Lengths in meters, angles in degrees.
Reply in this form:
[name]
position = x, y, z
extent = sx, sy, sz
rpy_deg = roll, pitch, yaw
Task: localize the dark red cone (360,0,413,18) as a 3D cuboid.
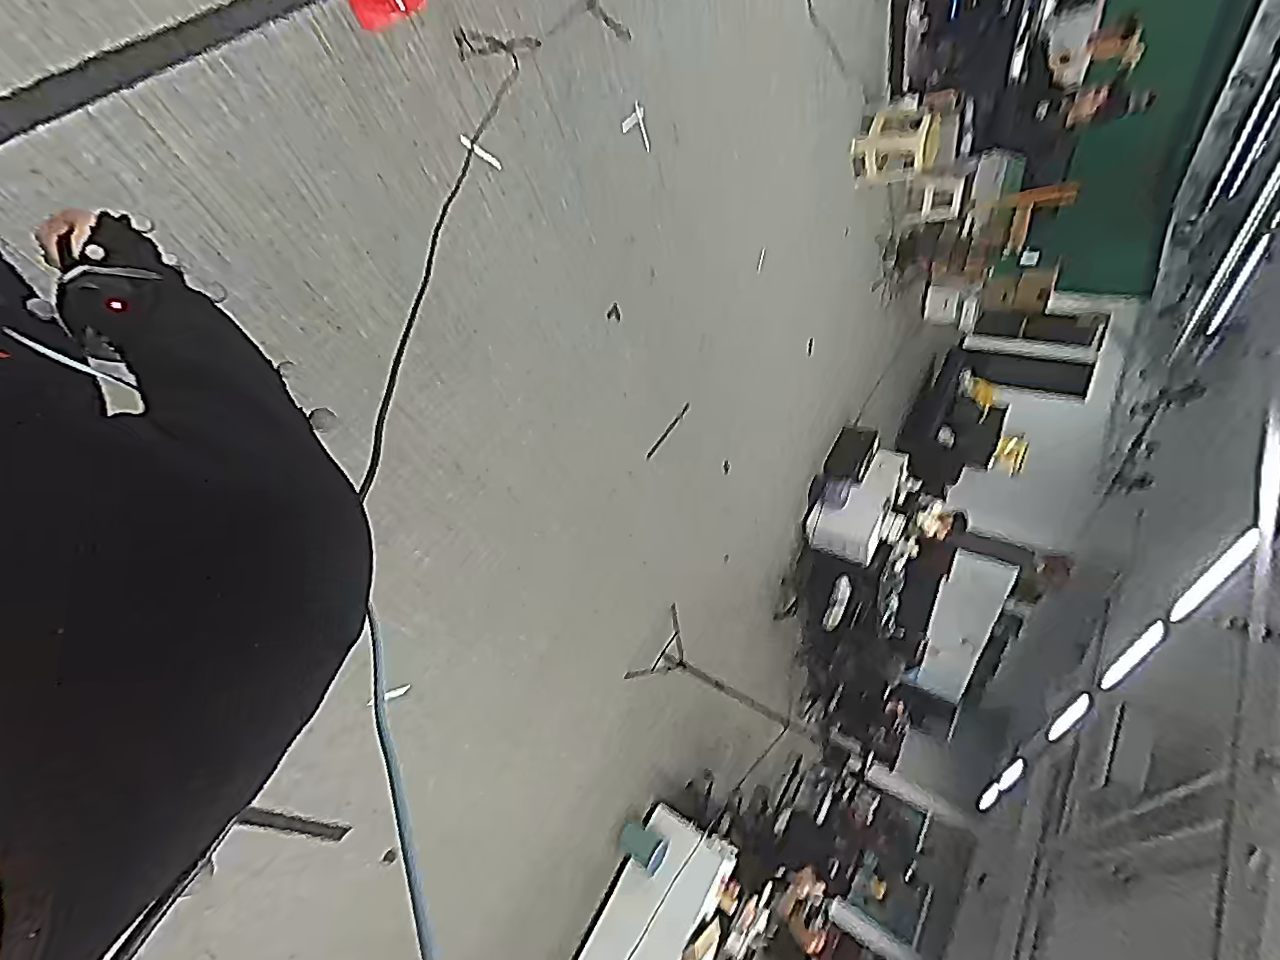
[dark red cone]
position = -0.428, -1.086, 1.060
extent = 0.202, 0.394, 0.201
rpy_deg = -55, 145, -24
